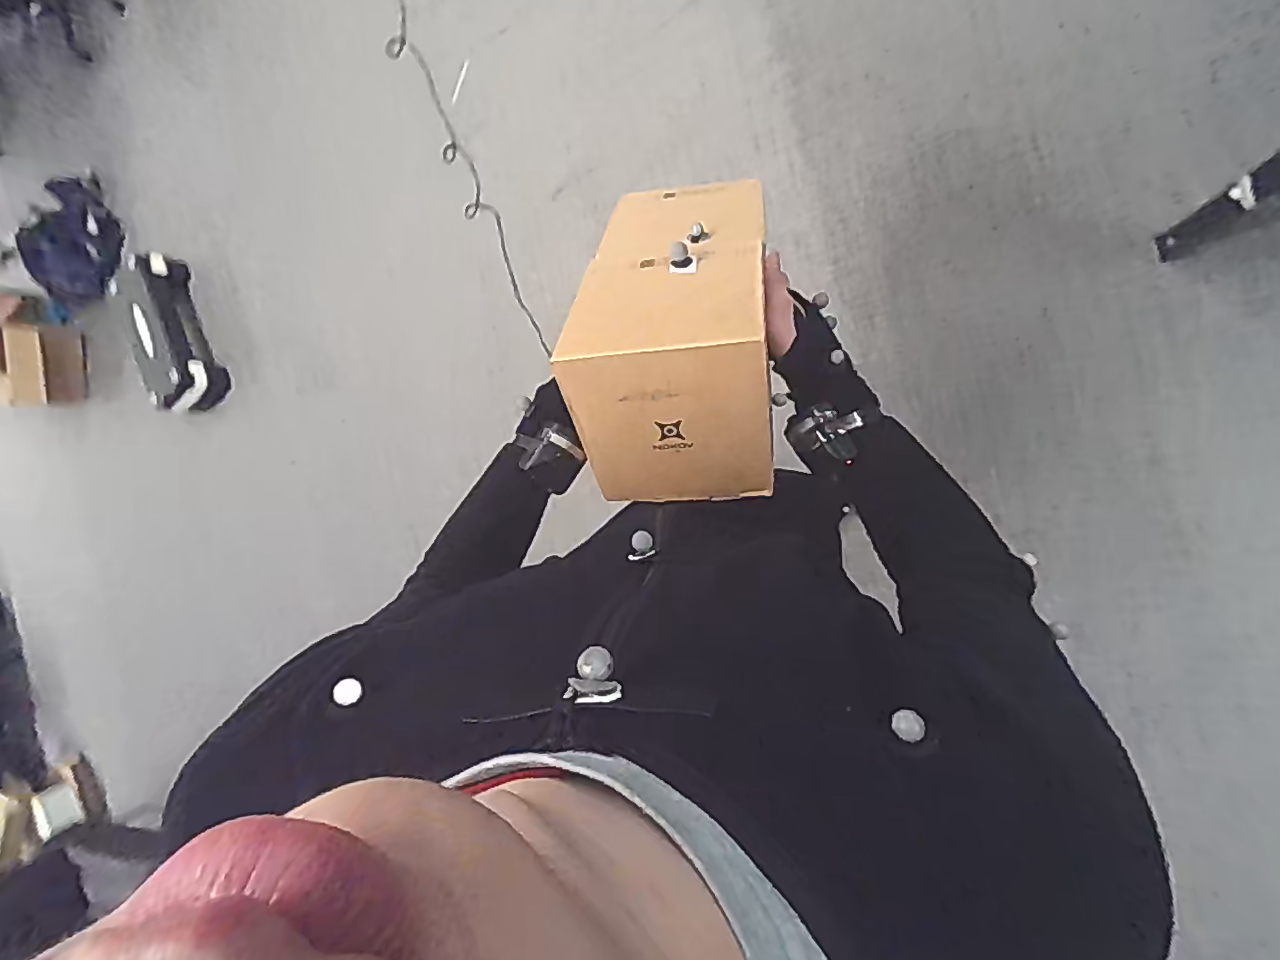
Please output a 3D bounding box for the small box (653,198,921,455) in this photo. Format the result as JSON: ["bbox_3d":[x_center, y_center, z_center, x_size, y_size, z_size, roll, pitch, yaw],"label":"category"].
[{"bbox_3d":[0.126,-0.151,0.524,0.179,0.168,0.176,12,121,-13],"label":"small box"}]
